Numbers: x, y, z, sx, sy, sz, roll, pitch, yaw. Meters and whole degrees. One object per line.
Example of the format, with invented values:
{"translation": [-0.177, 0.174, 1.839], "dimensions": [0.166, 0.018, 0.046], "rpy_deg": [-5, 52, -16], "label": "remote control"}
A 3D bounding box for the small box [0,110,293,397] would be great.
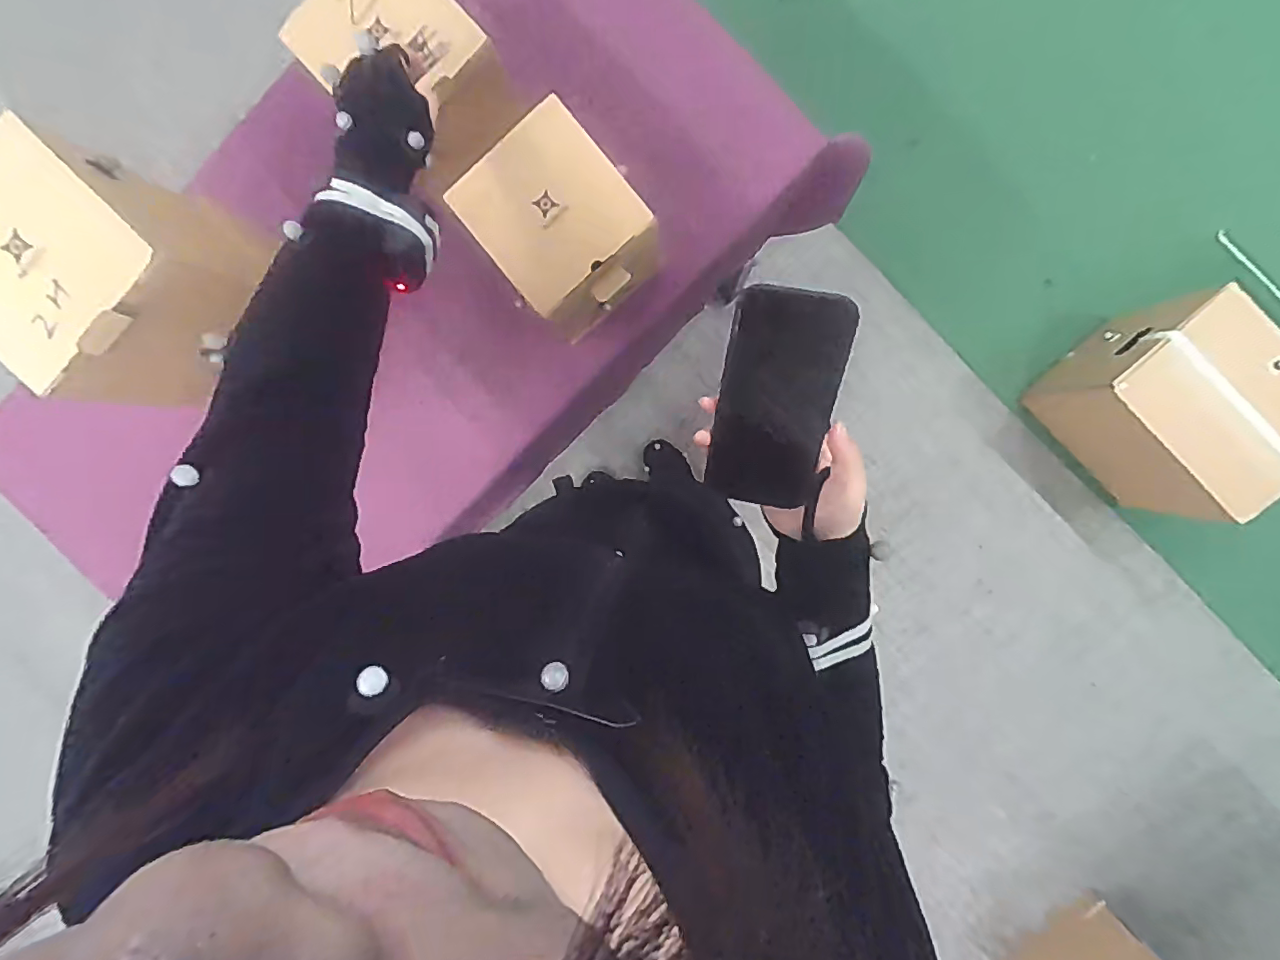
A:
{"translation": [-0.505, -0.198, 0.535], "dimensions": [0.179, 0.176, 0.168], "rpy_deg": [45, 96, -1], "label": "small box"}

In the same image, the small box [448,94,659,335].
{"translation": [-0.092, -0.304, 0.665], "dimensions": [0.168, 0.176, 0.179], "rpy_deg": [-39, 92, 6], "label": "small box"}
